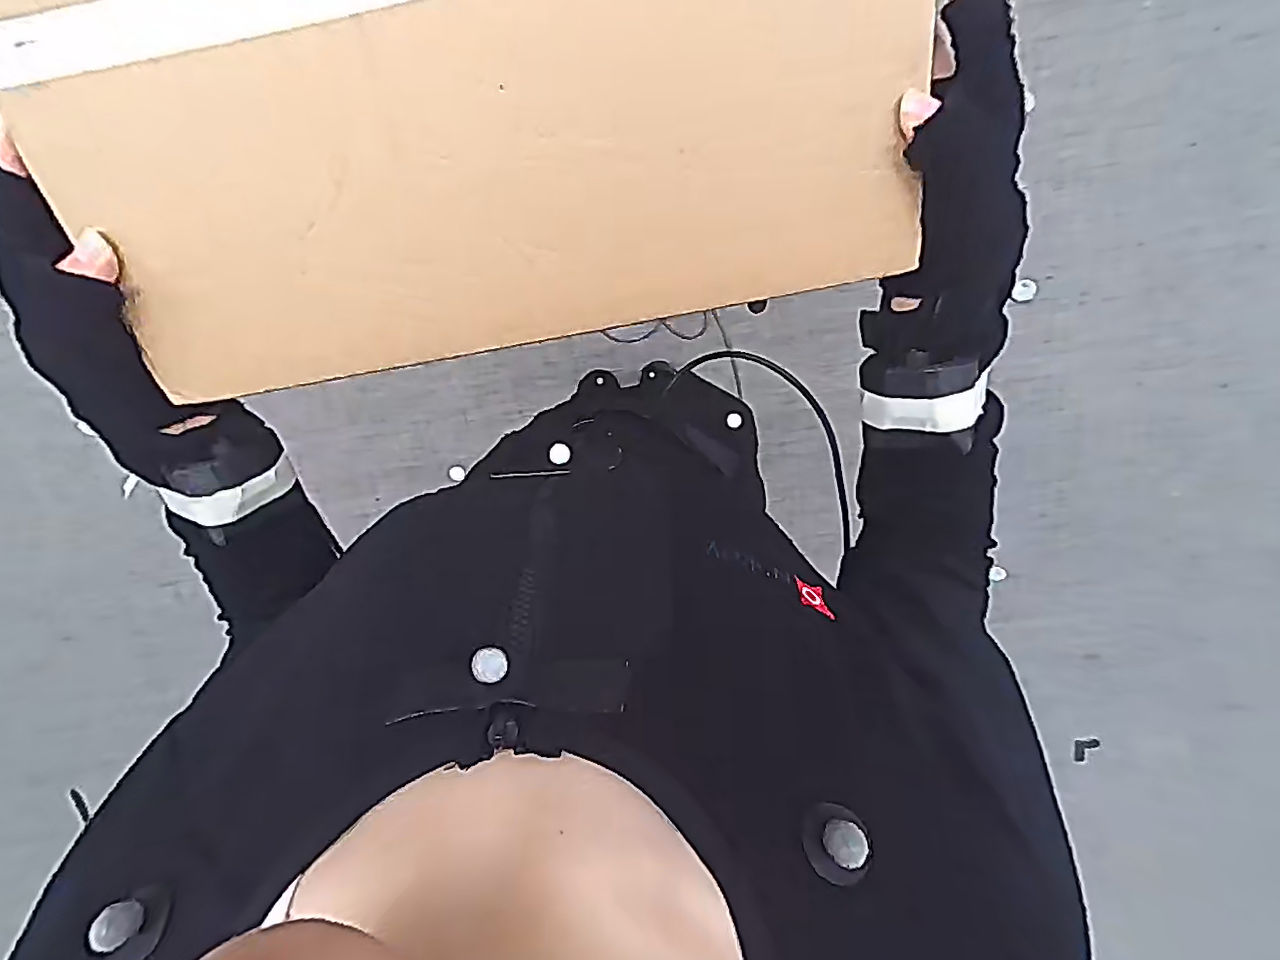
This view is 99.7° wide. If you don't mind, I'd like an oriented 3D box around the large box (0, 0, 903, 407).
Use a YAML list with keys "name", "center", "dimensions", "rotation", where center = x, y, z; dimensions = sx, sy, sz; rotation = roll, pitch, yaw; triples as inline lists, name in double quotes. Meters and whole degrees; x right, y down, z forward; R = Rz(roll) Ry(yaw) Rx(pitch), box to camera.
- name: "large box"
  center: [-0.087, -0.277, 0.364]
  dimensions: [0.408, 0.320, 0.320]
  rotation: [-10, 115, 4]
